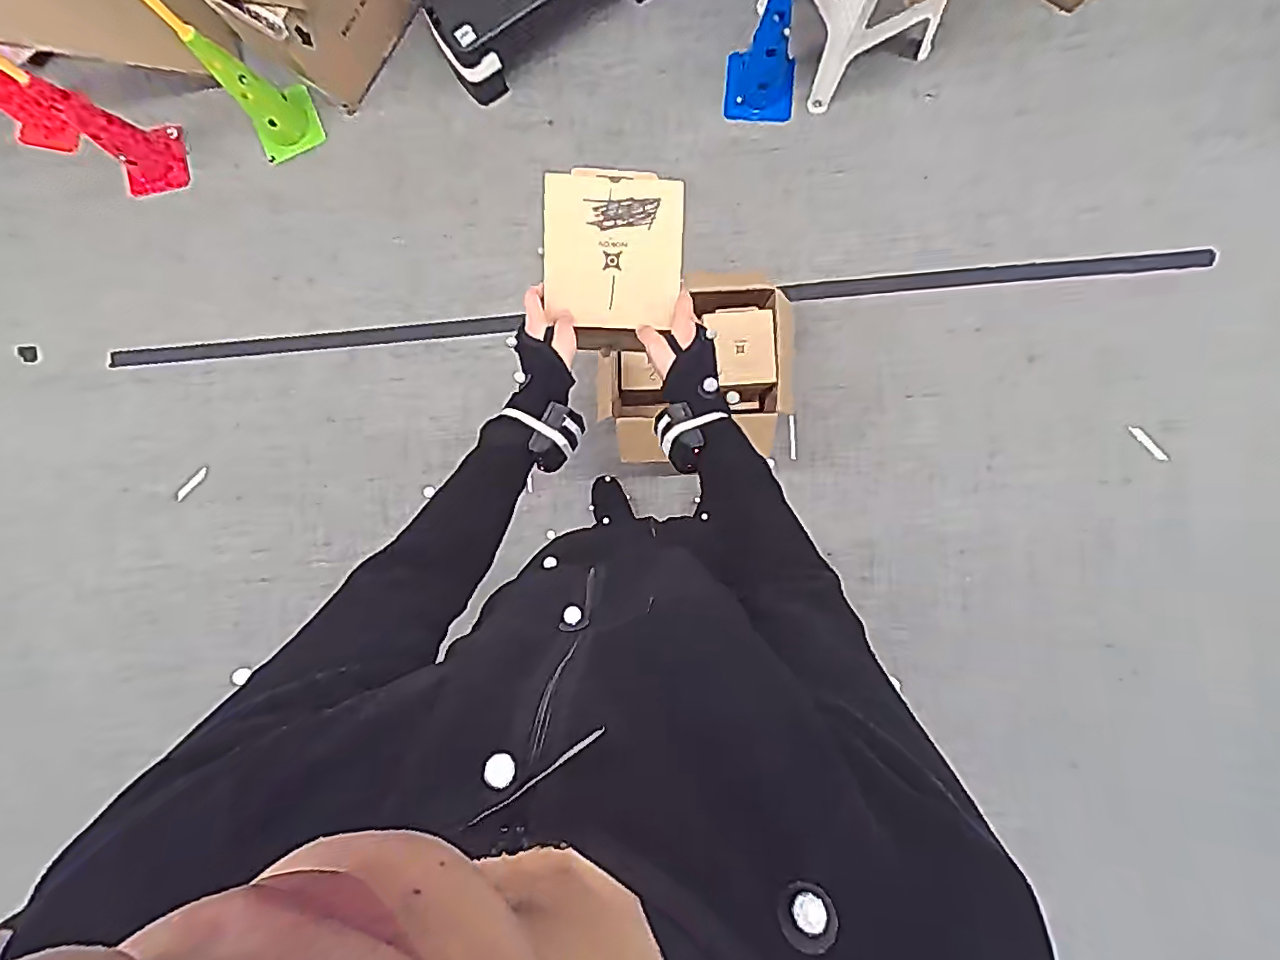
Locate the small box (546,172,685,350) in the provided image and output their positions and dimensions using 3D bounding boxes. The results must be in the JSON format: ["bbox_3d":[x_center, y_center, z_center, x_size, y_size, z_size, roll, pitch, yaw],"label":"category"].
[{"bbox_3d":[-0.036,-0.280,0.725,0.168,0.176,0.179,1,95,-4],"label":"small box"}]
